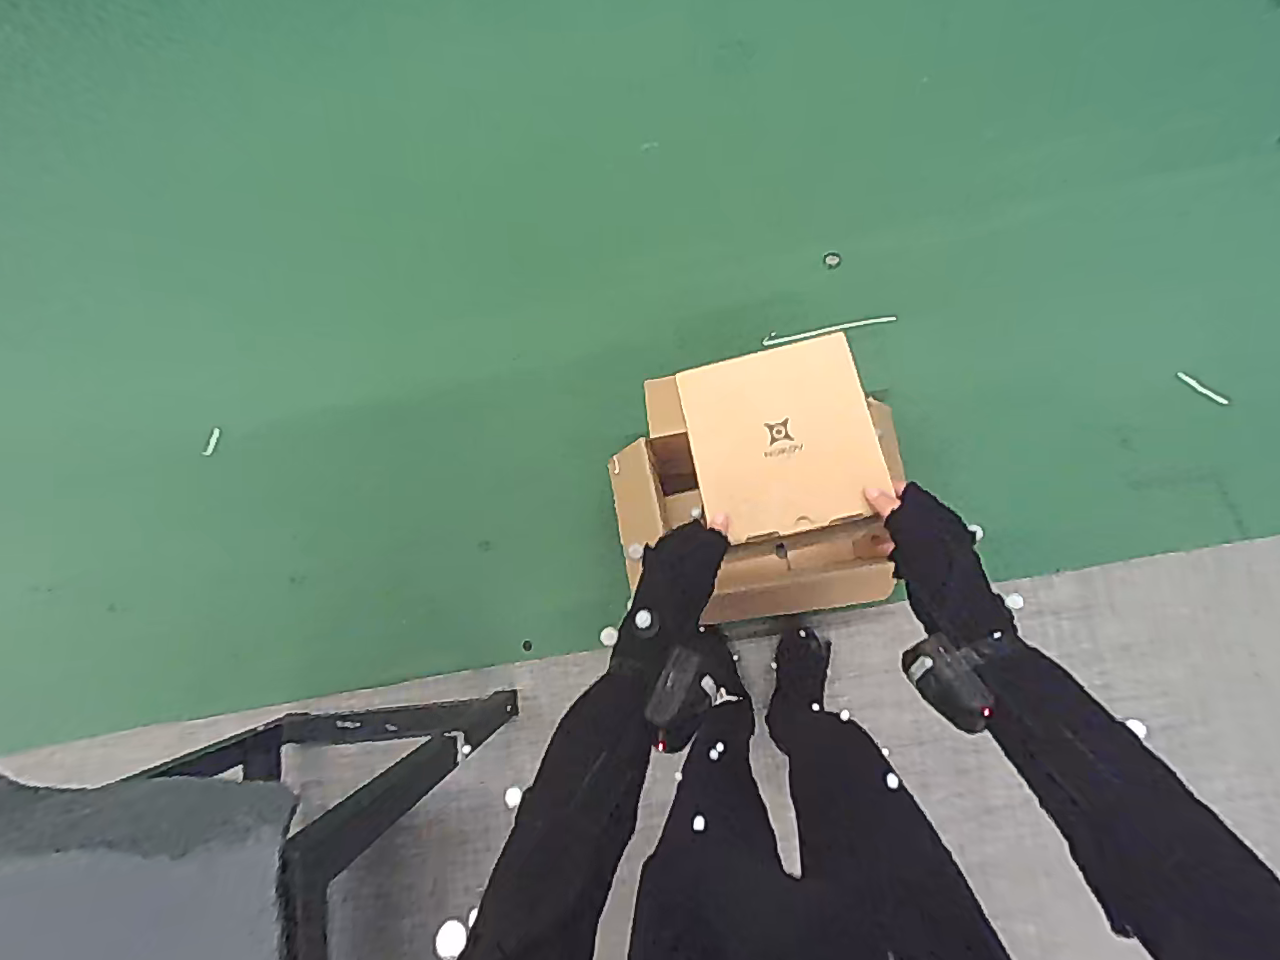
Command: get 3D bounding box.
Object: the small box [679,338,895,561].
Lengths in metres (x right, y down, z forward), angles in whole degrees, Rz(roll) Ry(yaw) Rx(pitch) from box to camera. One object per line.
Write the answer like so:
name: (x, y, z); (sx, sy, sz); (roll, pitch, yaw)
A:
small box: (0.143, -0.020, 0.580); (0.168, 0.176, 0.179); (-13, 75, 7)
